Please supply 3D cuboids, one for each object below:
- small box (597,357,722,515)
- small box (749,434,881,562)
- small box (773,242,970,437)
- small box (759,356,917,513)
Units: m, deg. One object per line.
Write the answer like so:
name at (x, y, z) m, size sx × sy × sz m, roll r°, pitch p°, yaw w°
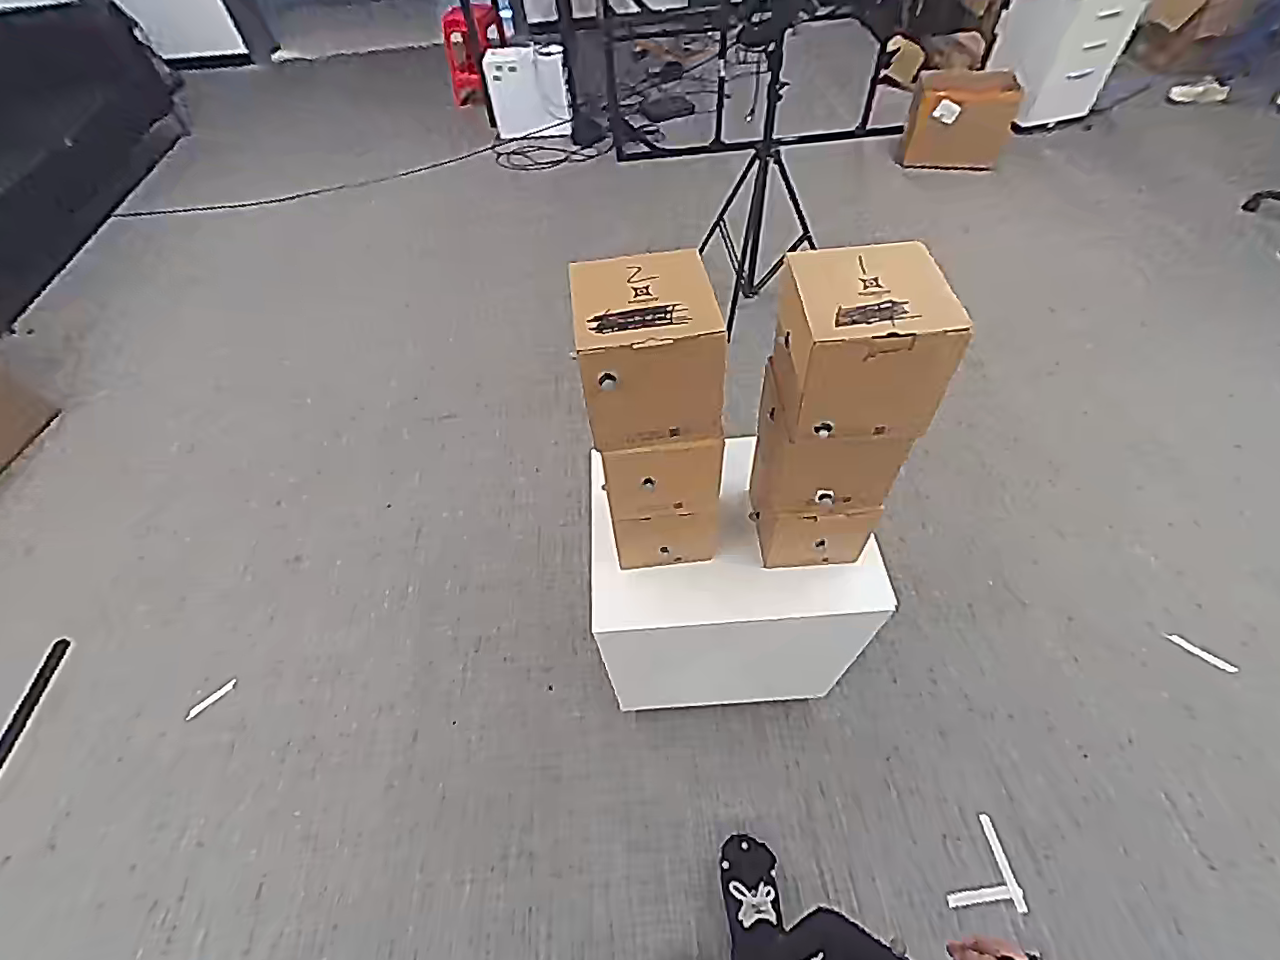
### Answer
small box at (0.027, -0.059, 0.817) m, size 0.168 × 0.176 × 0.179 m, roll -6°, pitch 53°, yaw 0°
small box at (0.288, 0.032, 0.932) m, size 0.168 × 0.176 × 0.179 m, roll -4°, pitch 55°, yaw 1°
small box at (0.266, -0.165, 0.672) m, size 0.168 × 0.176 × 0.179 m, roll -3°, pitch 52°, yaw 4°
small box at (0.277, -0.071, 0.806) m, size 0.168 × 0.176 × 0.179 m, roll -5°, pitch 54°, yaw 3°
